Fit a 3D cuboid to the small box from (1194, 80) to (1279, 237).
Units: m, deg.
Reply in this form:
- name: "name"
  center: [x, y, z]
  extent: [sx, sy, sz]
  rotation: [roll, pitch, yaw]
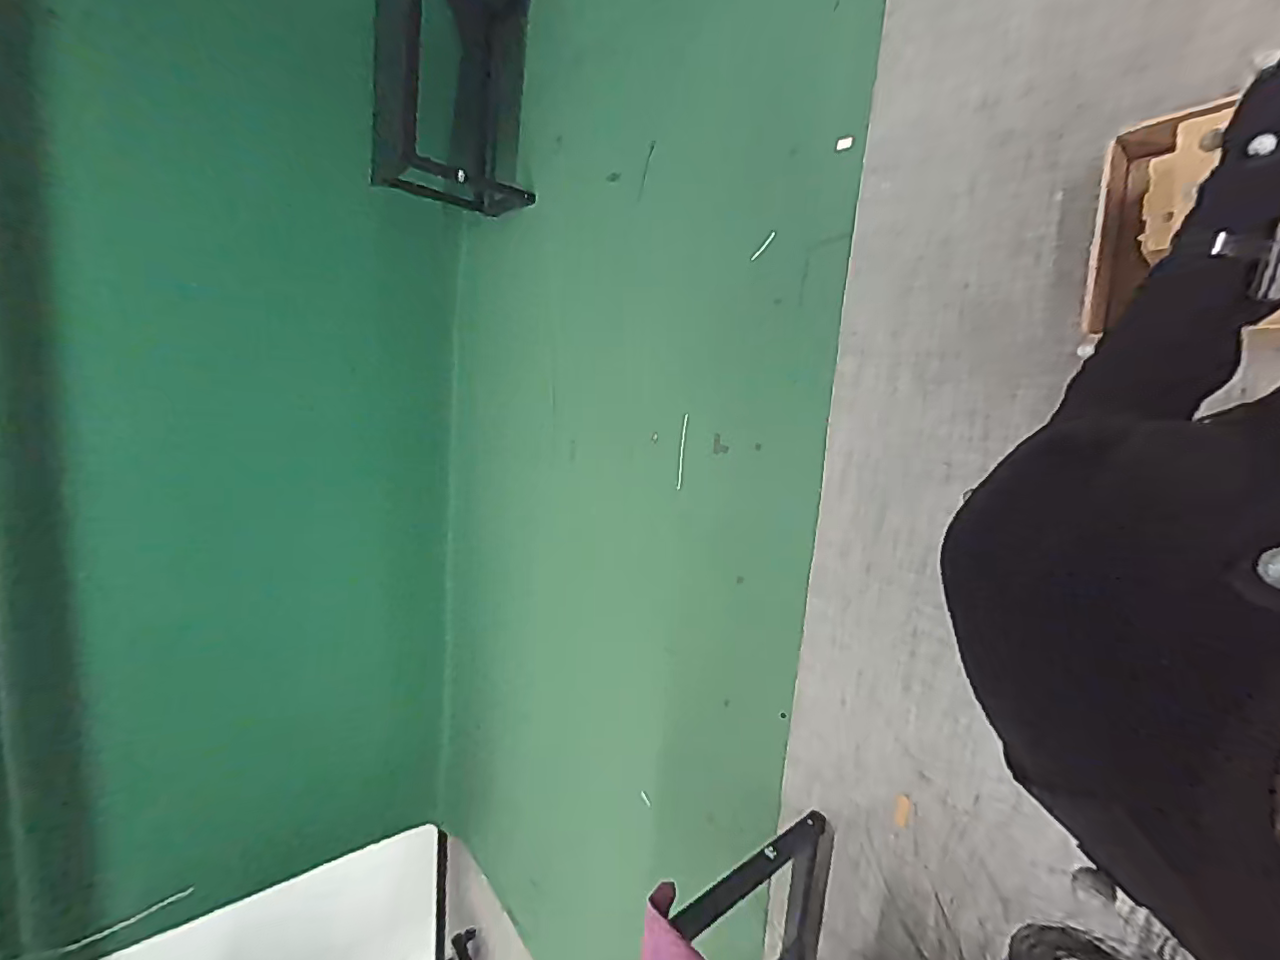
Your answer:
- name: "small box"
  center: [0.967, -0.483, 0.815]
  extent: [0.168, 0.176, 0.179]
  rotation: [4, 97, 49]

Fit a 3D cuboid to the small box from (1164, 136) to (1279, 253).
- name: "small box"
  center: [1.064, -0.516, 0.952]
  extent: [0.179, 0.176, 0.168]
  rotation: [6, 99, 50]
